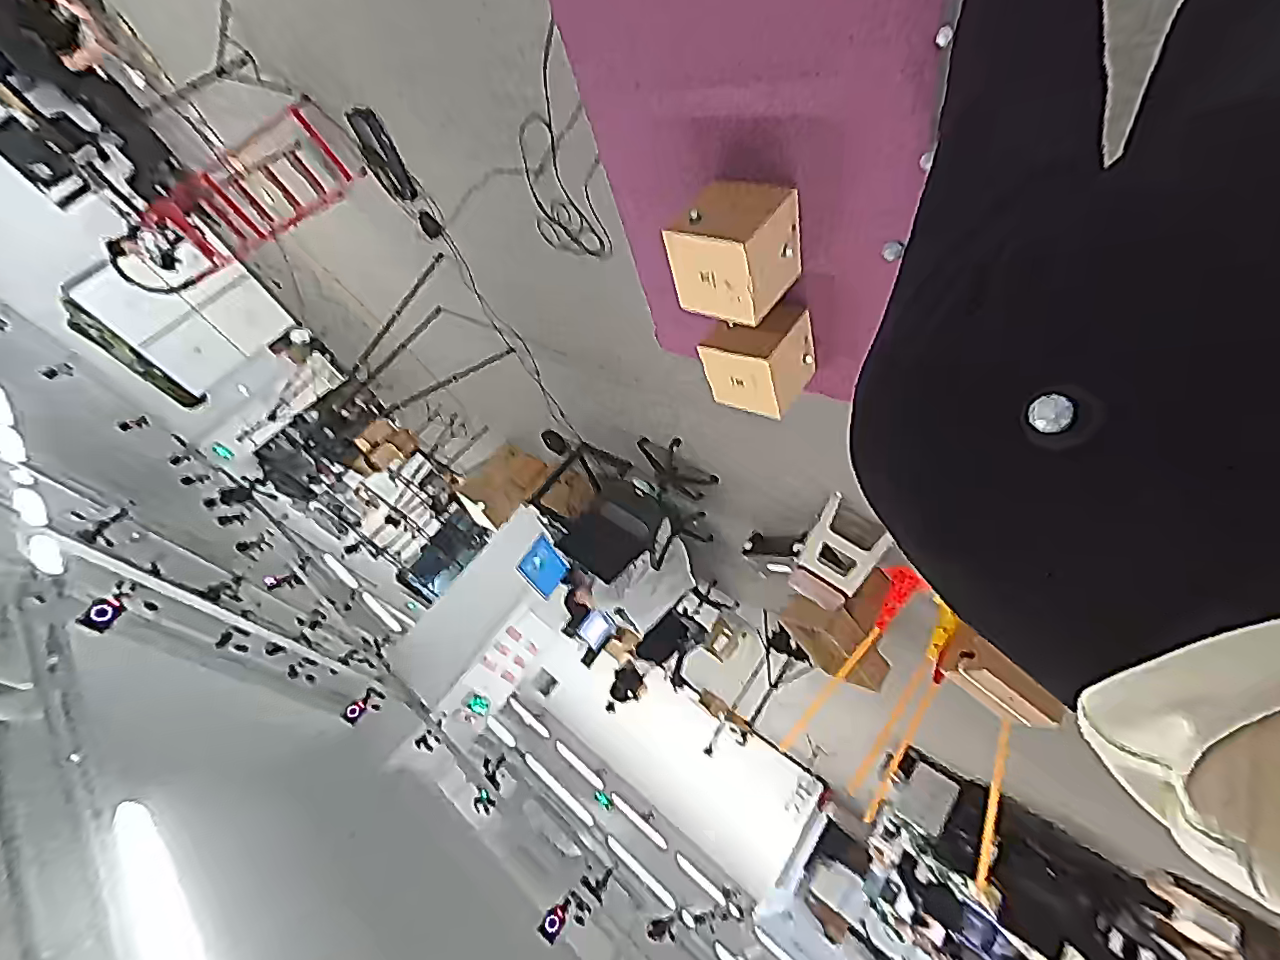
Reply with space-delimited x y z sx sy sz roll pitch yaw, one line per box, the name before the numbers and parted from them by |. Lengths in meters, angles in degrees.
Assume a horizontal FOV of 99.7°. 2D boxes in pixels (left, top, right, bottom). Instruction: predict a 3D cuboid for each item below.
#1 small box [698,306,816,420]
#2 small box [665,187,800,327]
small box | 0.259 -0.262 1.176 0.179 0.176 0.168 23 155 37
small box | 0.176 -0.416 0.998 0.179 0.176 0.168 26 156 33
